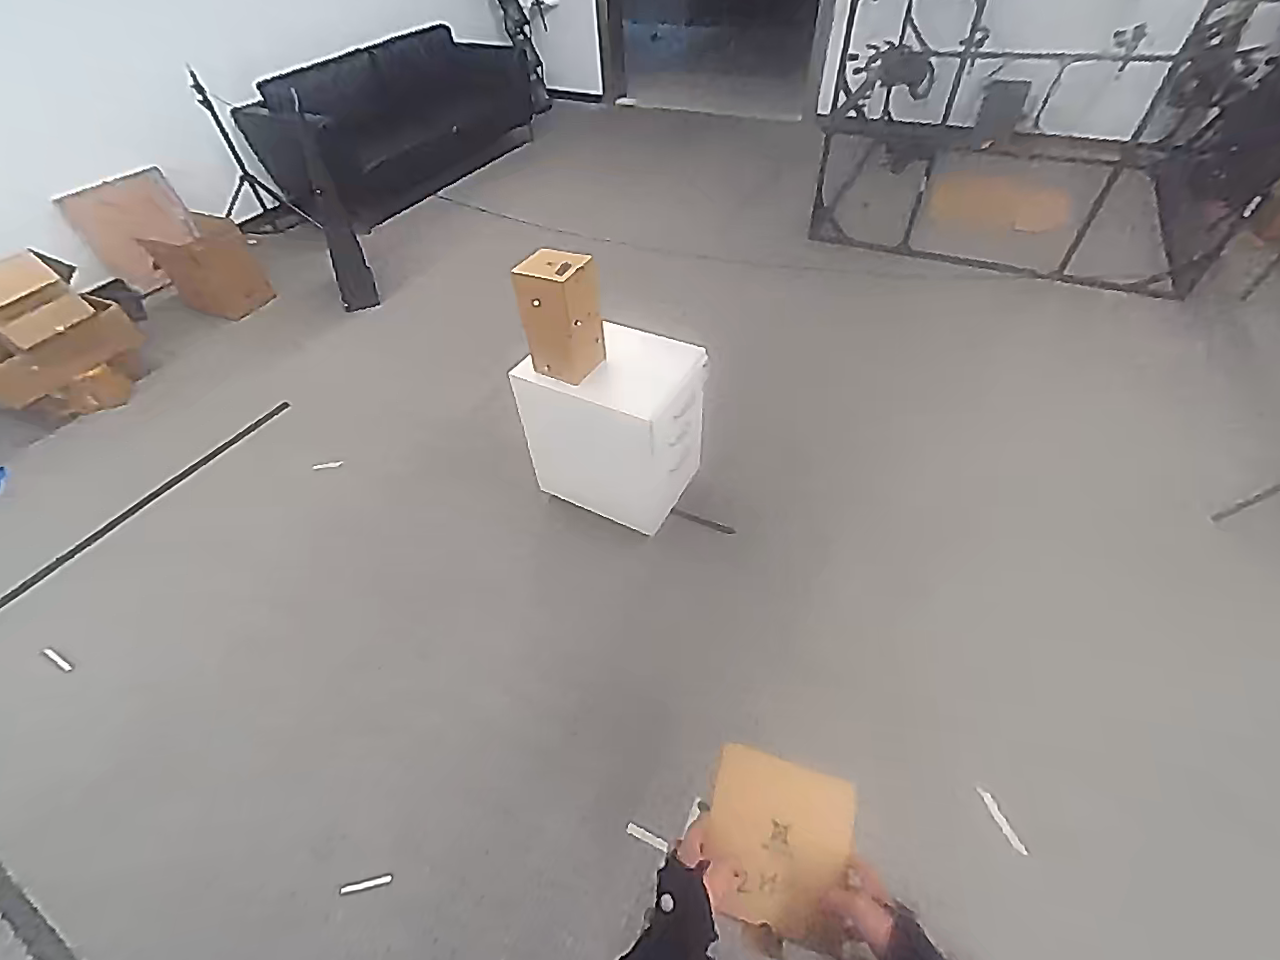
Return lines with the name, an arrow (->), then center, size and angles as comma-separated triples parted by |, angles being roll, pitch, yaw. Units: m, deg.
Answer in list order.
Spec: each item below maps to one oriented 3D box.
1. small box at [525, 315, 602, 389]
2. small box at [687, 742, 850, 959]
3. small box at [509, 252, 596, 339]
small box -> -0.228, -0.412, 1.666 | 0.168, 0.176, 0.179 | 21, 52, 22
small box -> 0.159, 0.466, 0.698 | 0.168, 0.176, 0.179 | 12, 57, 11
small box -> -0.241, -0.526, 1.548 | 0.179, 0.176, 0.168 | 17, 49, 20
